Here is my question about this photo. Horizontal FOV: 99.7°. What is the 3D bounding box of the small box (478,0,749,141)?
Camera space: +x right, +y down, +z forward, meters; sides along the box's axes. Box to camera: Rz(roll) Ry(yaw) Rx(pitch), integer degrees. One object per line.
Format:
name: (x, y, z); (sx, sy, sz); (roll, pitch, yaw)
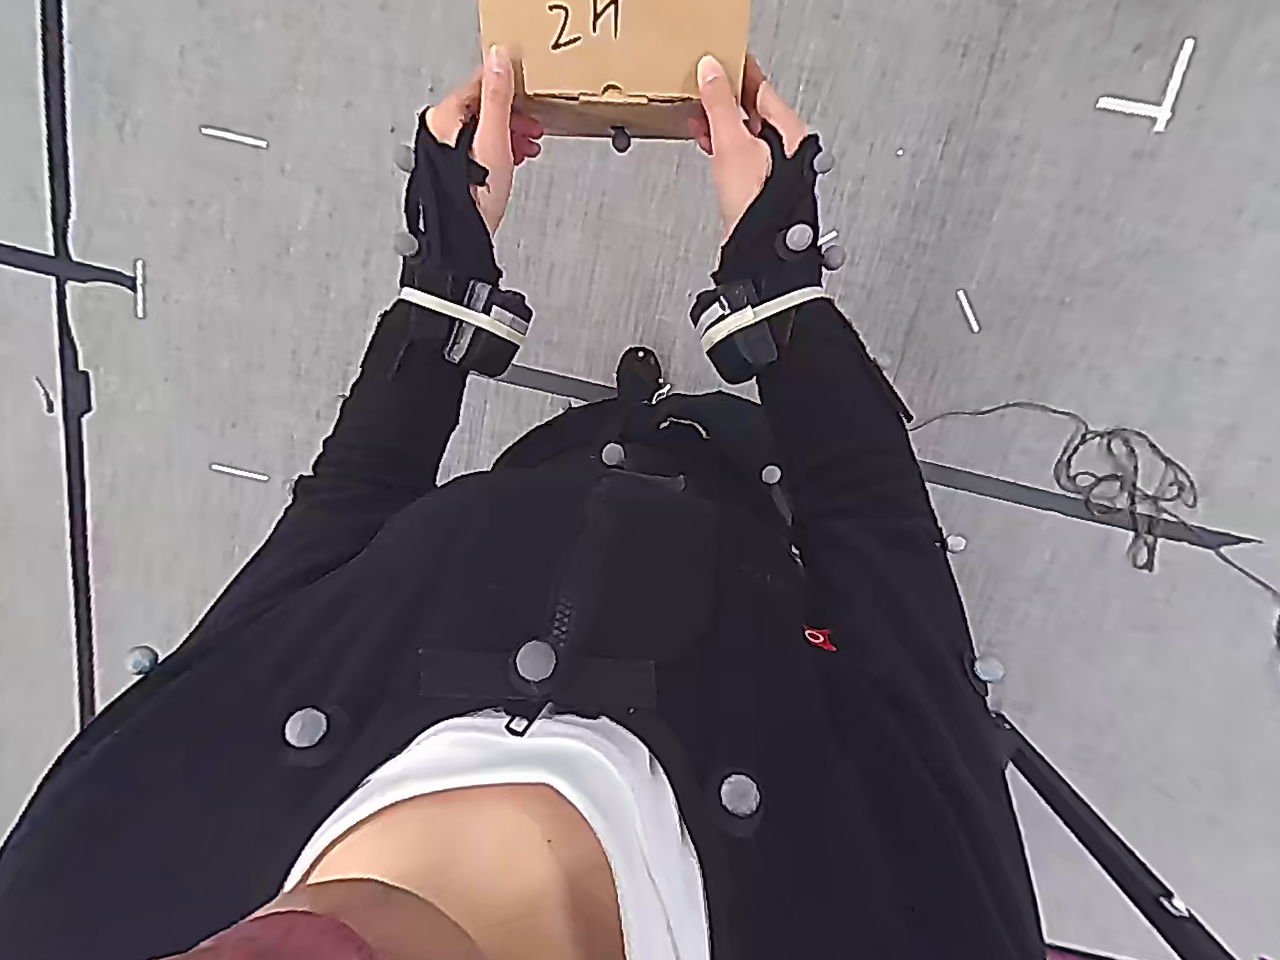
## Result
small box: (-0.013, -0.357, 0.380); (0.168, 0.176, 0.179); (3, 115, 1)
